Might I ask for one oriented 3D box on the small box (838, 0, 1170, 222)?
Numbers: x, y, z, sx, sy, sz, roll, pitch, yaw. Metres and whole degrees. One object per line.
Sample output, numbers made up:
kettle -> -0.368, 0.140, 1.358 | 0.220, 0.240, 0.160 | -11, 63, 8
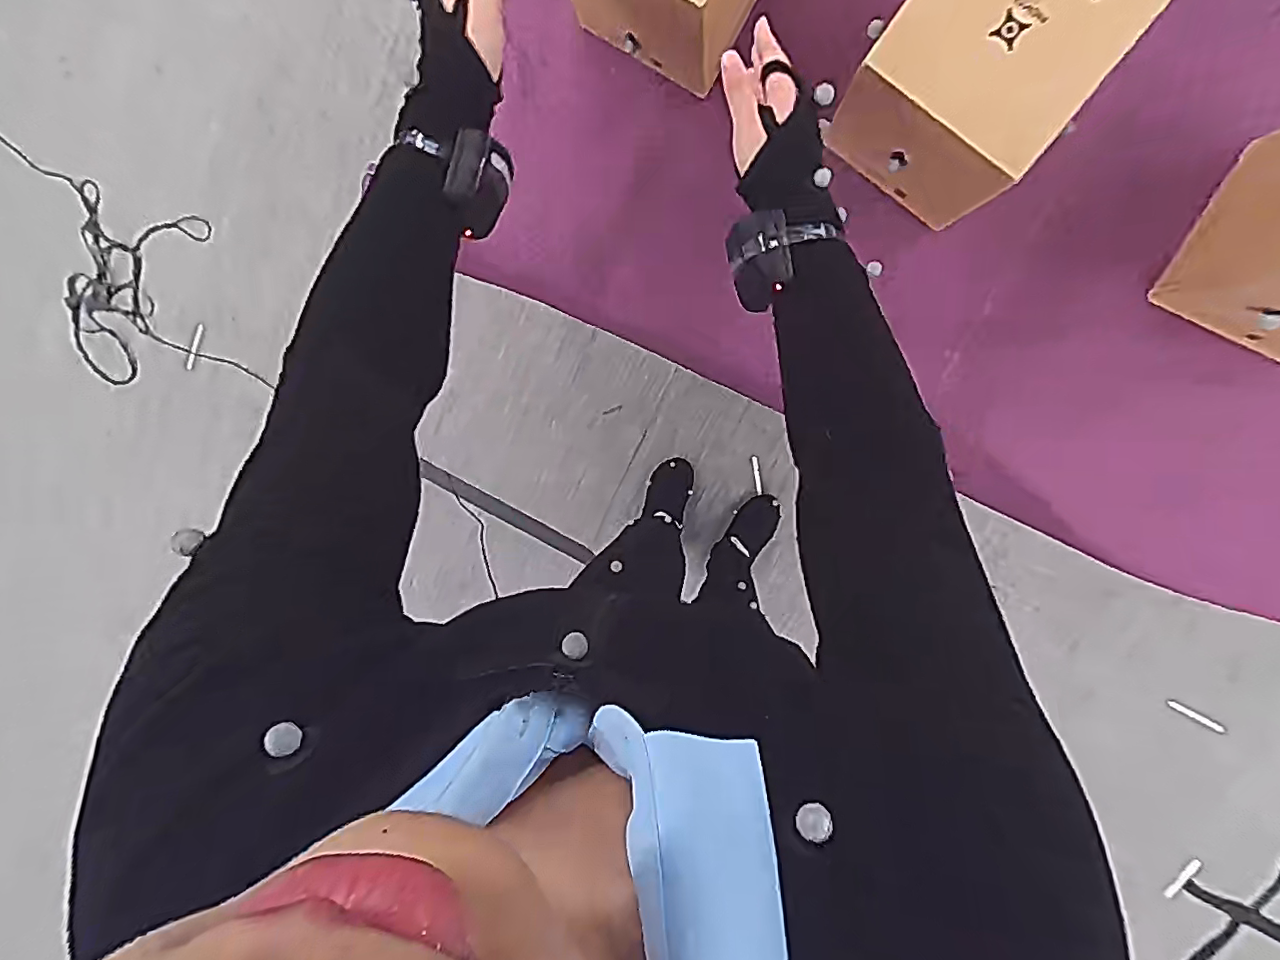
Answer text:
small box -> 0.313, -0.381, 0.511 | 0.168, 0.176, 0.179 | 38, 103, -2

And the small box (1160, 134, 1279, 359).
small box -> 0.655, -0.223, 0.501 | 0.168, 0.176, 0.179 | 27, 102, 2
